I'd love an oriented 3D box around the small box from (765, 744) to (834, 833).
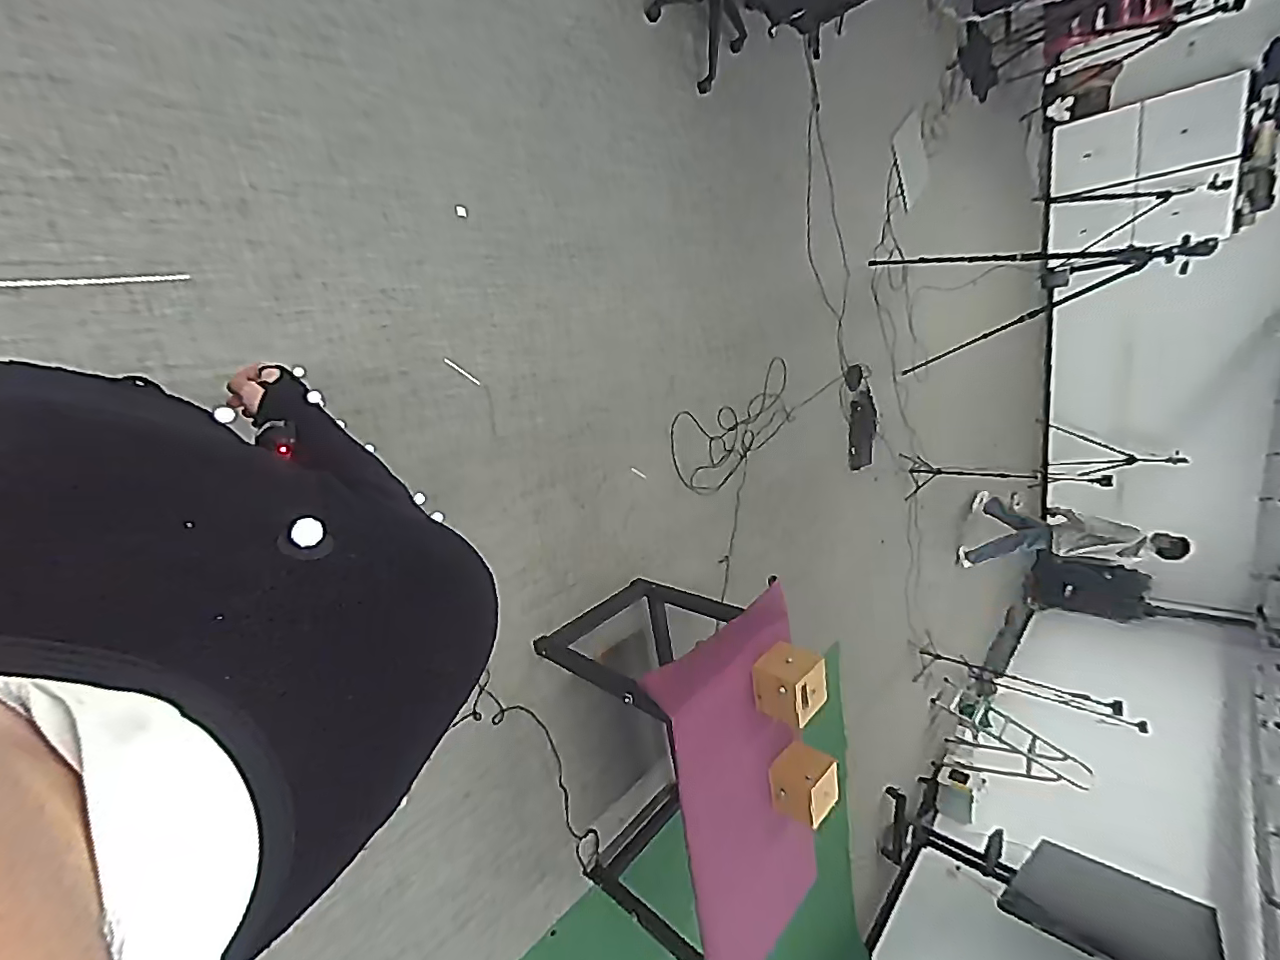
[{"bbox_3d":[0.555,1.061,1.879,0.179,0.176,0.168,-19,108,-39],"label":"small box"}]
